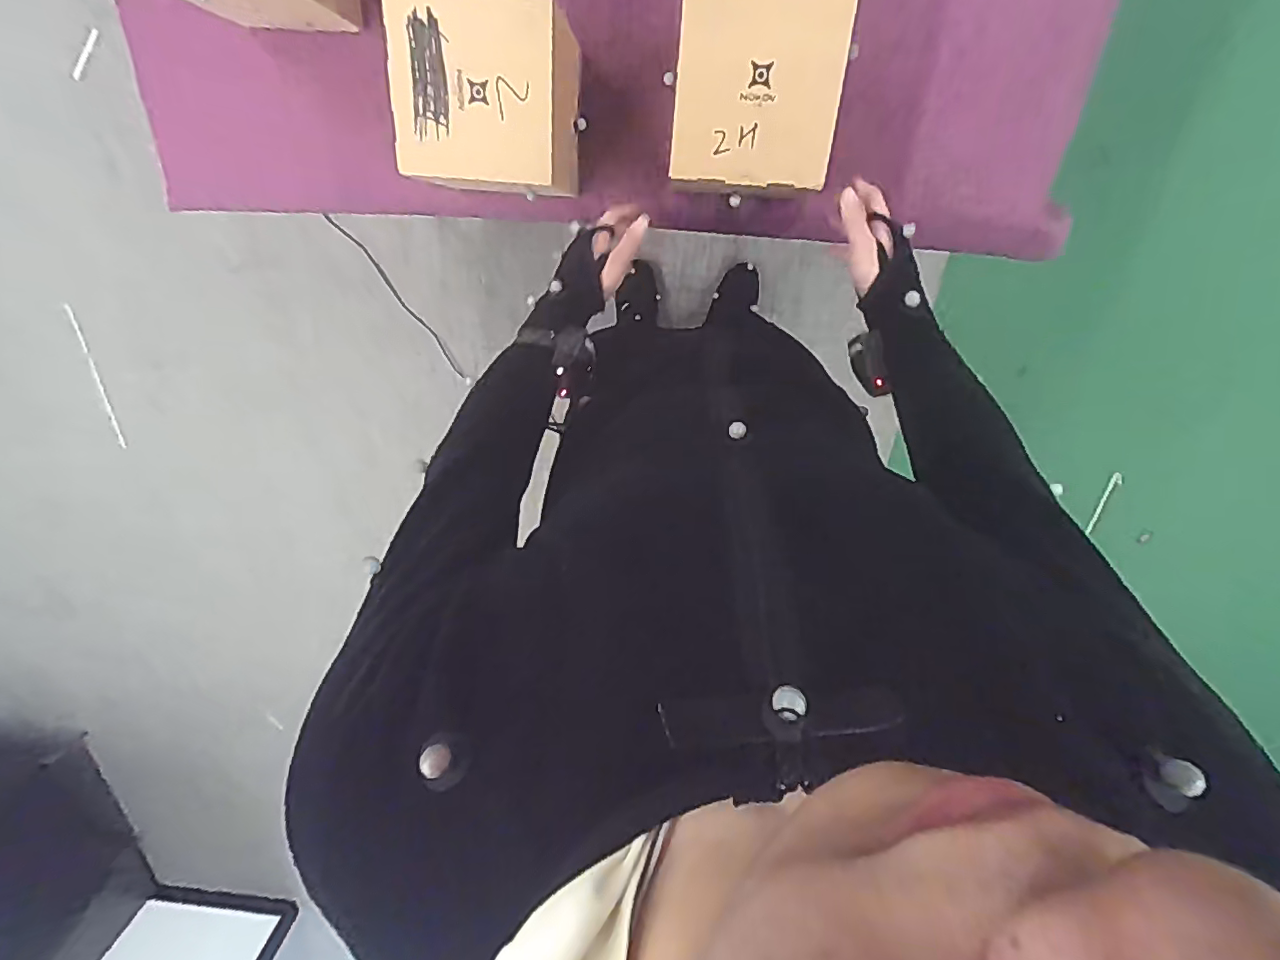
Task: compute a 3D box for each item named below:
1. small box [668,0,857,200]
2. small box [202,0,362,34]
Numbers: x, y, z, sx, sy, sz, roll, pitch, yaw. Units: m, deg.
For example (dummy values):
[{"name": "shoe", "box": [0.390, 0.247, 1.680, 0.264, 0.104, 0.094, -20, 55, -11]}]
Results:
[{"name": "small box", "box": [0.123, -0.427, 0.612, 0.168, 0.176, 0.179, 6, 114, 3]}, {"name": "small box", "box": [-0.427, -0.616, 0.575, 0.168, 0.176, 0.179, 6, 115, 4]}]
